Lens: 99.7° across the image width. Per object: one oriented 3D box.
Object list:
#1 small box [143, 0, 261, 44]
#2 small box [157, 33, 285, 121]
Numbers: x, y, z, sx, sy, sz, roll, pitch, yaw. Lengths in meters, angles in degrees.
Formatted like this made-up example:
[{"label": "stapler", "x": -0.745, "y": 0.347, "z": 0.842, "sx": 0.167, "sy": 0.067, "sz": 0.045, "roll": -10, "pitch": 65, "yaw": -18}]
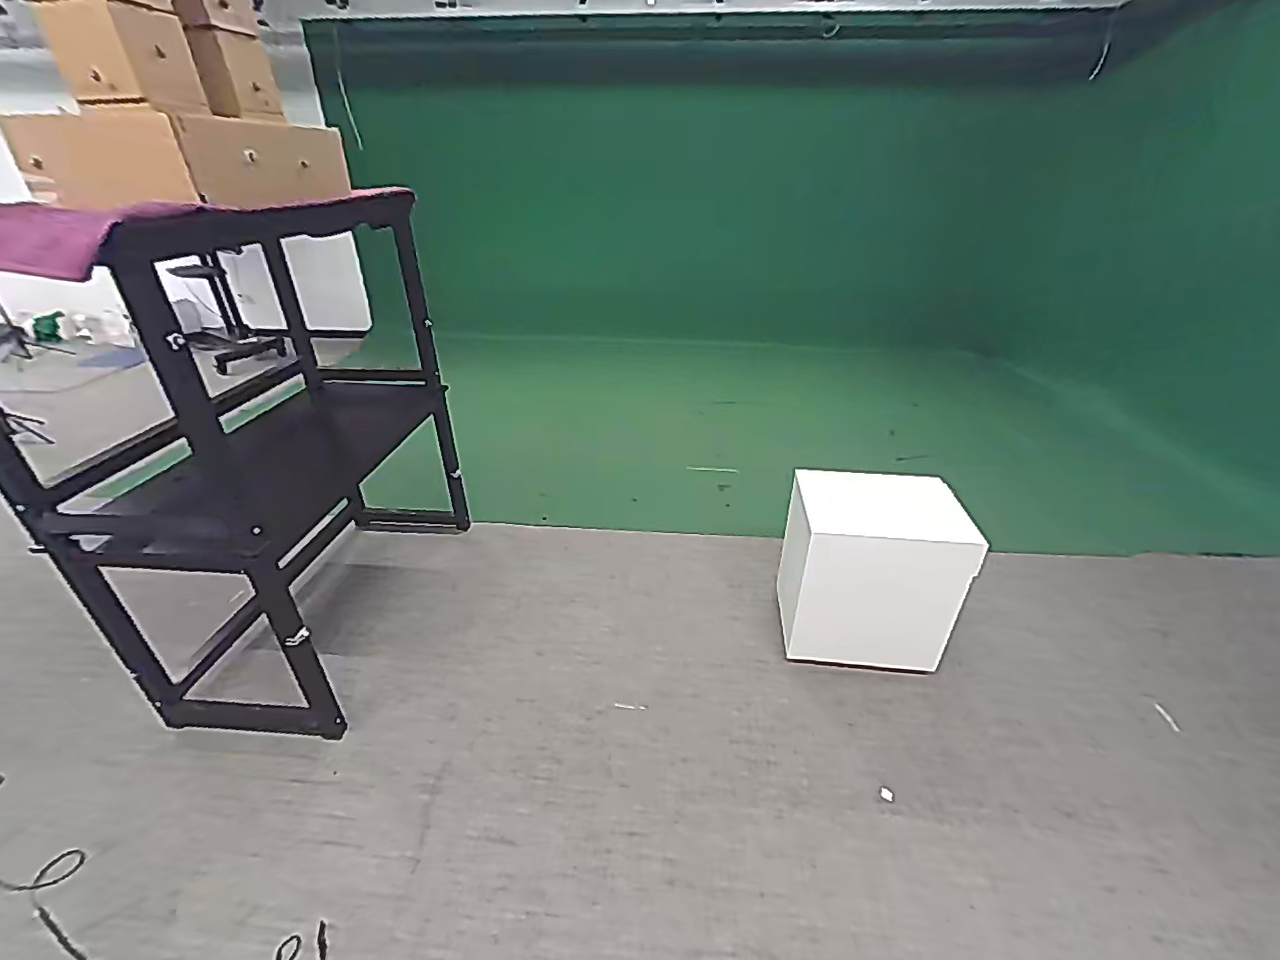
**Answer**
[{"label": "small box", "x": -1.089, "y": -1.183, "z": 1.325, "sx": 0.179, "sy": 0.176, "sz": 0.168, "roll": 3, "pitch": 31, "yaw": 7}, {"label": "small box", "x": -1.090, "y": -1.051, "z": 1.421, "sx": 0.179, "sy": 0.176, "sz": 0.168, "roll": 3, "pitch": 32, "yaw": 6}]
